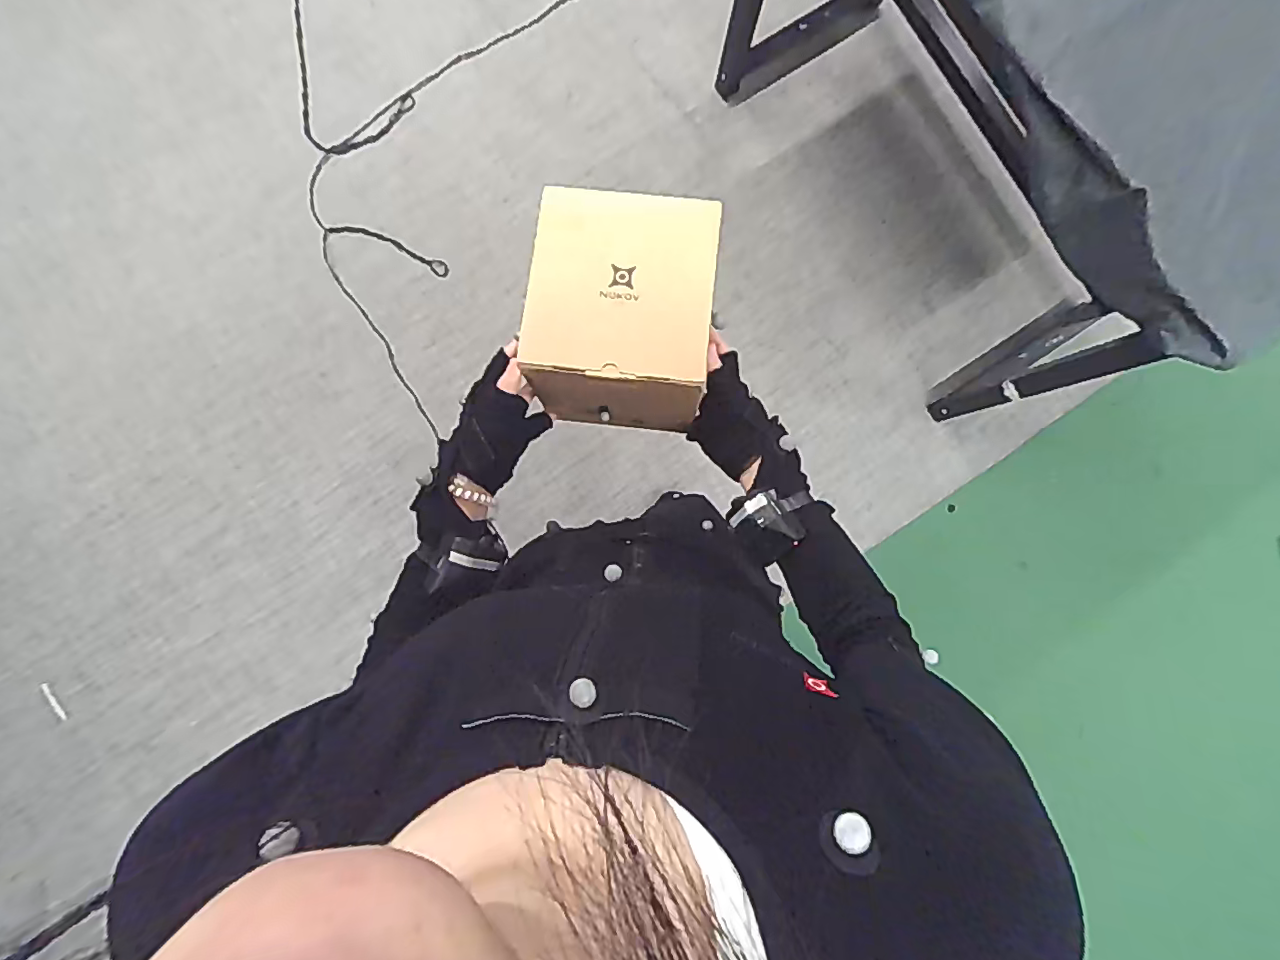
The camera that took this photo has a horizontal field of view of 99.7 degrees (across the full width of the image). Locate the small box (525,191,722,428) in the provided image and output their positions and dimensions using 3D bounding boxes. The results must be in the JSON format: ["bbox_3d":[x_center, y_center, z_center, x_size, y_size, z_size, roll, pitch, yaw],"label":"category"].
[{"bbox_3d":[-0.014,-0.166,0.573,0.168,0.176,0.179,6,82,1],"label":"small box"}]
